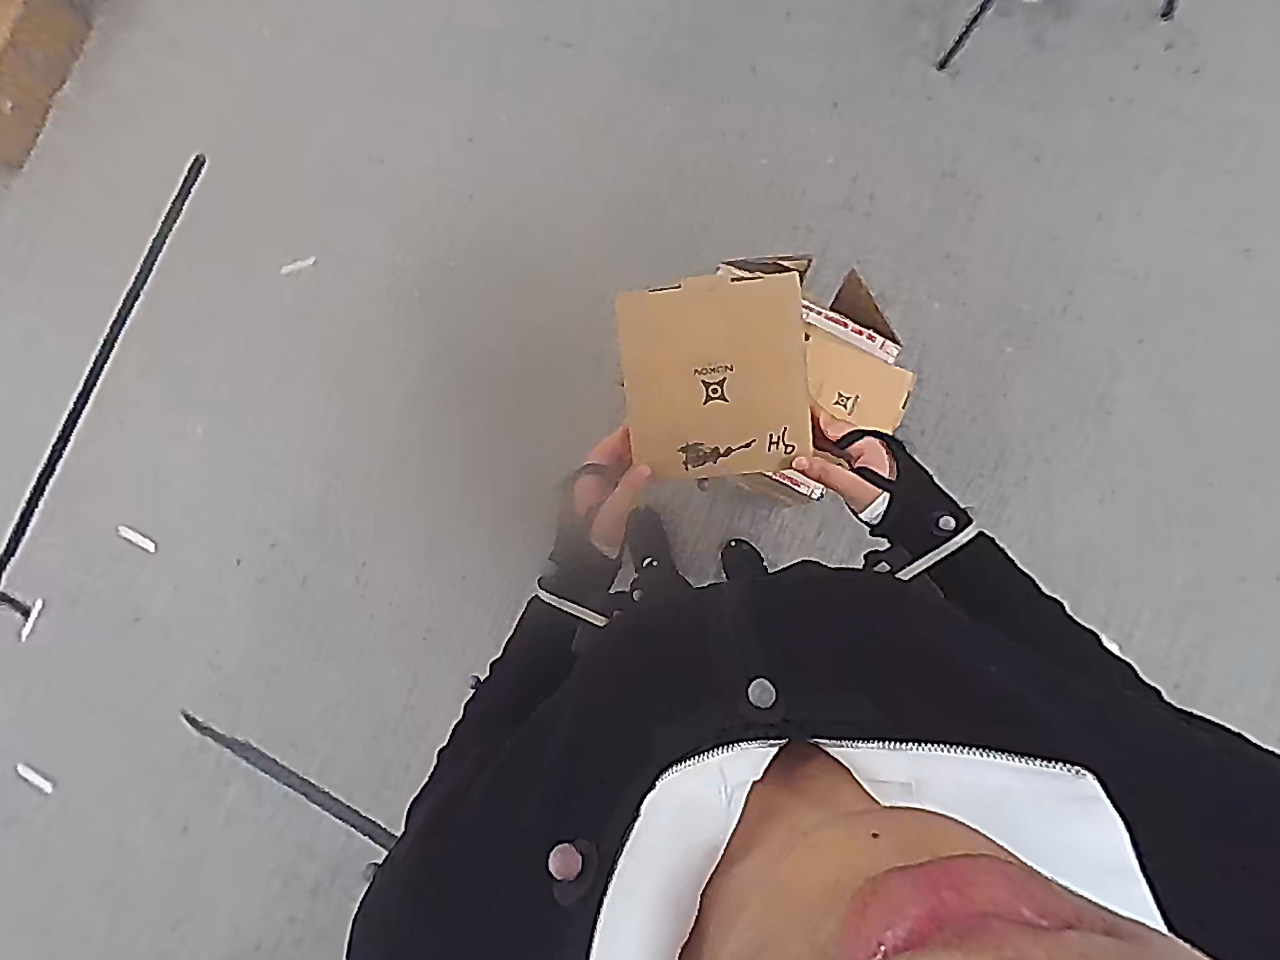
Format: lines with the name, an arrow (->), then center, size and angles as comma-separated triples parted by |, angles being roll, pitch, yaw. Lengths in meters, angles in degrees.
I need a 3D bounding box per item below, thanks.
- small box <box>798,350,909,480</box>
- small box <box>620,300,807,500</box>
small box -> 0.332, -0.104, 0.954 | 0.179, 0.176, 0.168 | 23, 89, 8
small box -> 0.072, -0.080, 0.587 | 0.168, 0.176, 0.179 | -6, 95, 4
